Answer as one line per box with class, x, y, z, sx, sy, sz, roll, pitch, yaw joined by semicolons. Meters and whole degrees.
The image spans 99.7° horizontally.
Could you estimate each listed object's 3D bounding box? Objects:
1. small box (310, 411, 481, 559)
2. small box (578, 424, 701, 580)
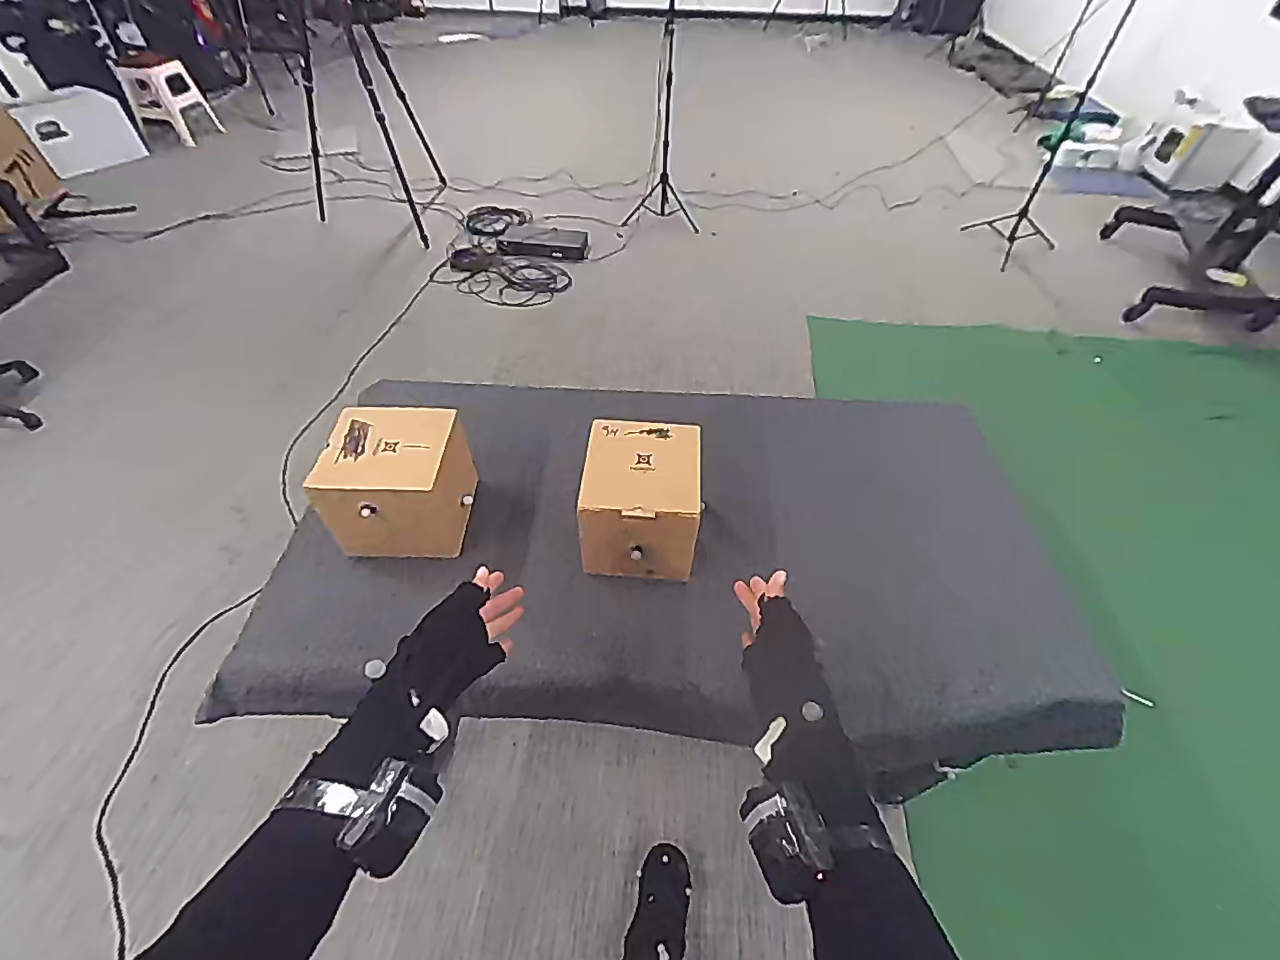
small box;-0.364;0.011;0.845;0.179;0.176;0.168;1;49;-2
small box;0.005;0.037;0.832;0.168;0.176;0.179;4;49;2
